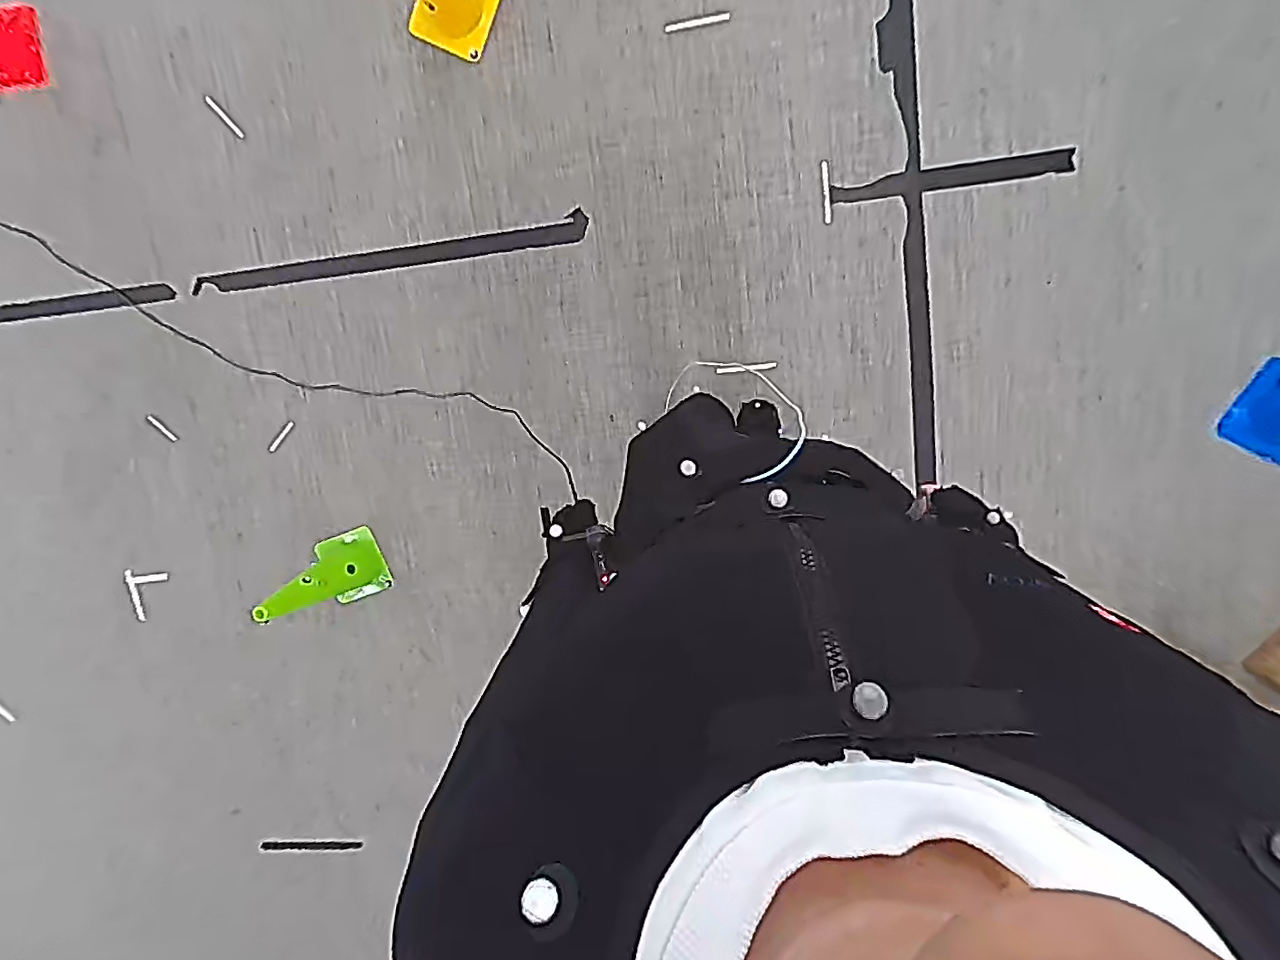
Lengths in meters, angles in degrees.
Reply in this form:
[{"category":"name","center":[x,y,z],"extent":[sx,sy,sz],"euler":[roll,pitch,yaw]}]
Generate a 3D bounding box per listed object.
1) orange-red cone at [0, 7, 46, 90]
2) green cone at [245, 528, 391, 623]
[{"category":"orange-red cone","center":[-1.754,-1.158,1.323],"extent":[0.199,0.360,0.198],"euler":[2,101,6]},{"category":"green cone","center":[-0.889,0.286,1.456],"extent":[0.202,0.368,0.200],"euler":[-21,96,12]}]
